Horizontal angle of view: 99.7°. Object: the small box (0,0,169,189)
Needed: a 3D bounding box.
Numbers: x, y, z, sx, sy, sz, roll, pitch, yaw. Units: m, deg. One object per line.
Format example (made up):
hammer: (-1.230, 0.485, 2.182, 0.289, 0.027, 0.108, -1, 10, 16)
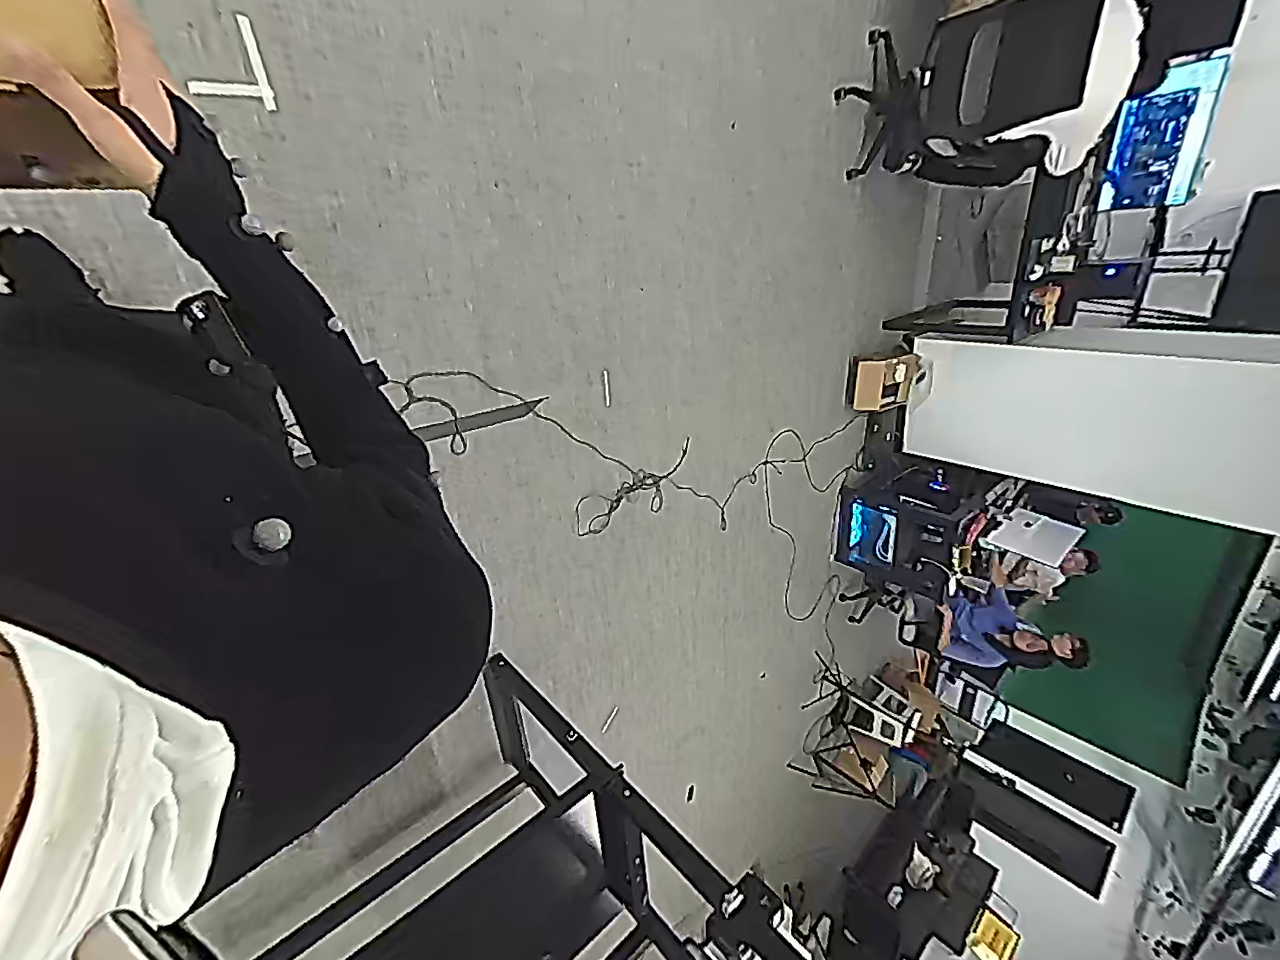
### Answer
small box: (-0.496, -0.345, 0.404, 0.168, 0.176, 0.179, -18, 102, -30)
